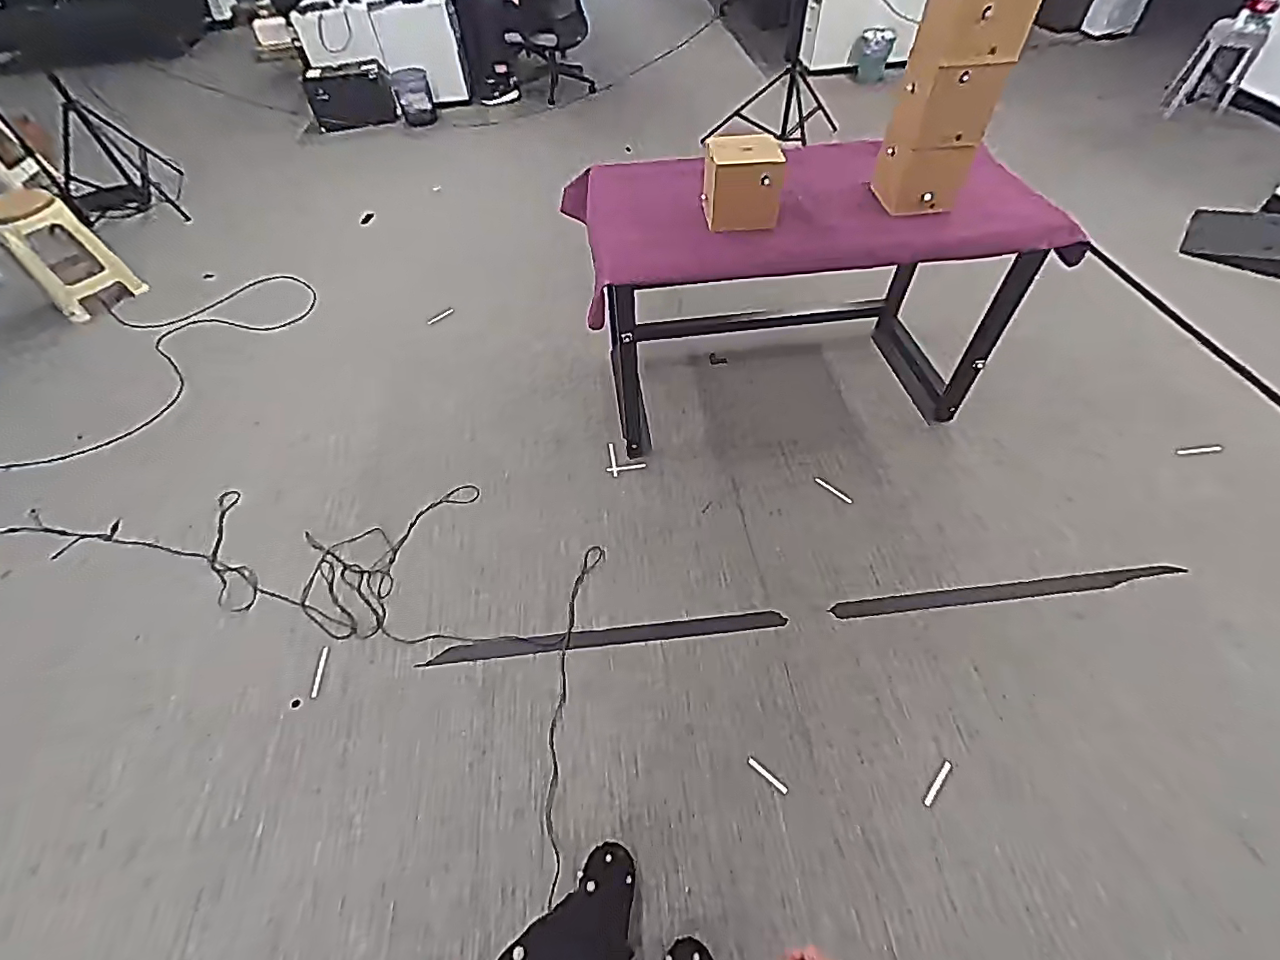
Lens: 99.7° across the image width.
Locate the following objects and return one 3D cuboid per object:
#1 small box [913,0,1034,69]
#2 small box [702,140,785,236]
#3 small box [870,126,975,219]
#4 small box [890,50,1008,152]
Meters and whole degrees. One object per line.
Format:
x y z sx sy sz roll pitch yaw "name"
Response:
0.723 -1.010 1.169 0.168 0.176 0.179 -4 52 1 "small box"
0.262 -0.761 1.414 0.179 0.176 0.168 -4 51 0 "small box"
0.736 -0.818 1.434 0.168 0.176 0.179 -5 52 0 "small box"
0.729 -0.915 1.302 0.168 0.176 0.179 -3 51 1 "small box"
